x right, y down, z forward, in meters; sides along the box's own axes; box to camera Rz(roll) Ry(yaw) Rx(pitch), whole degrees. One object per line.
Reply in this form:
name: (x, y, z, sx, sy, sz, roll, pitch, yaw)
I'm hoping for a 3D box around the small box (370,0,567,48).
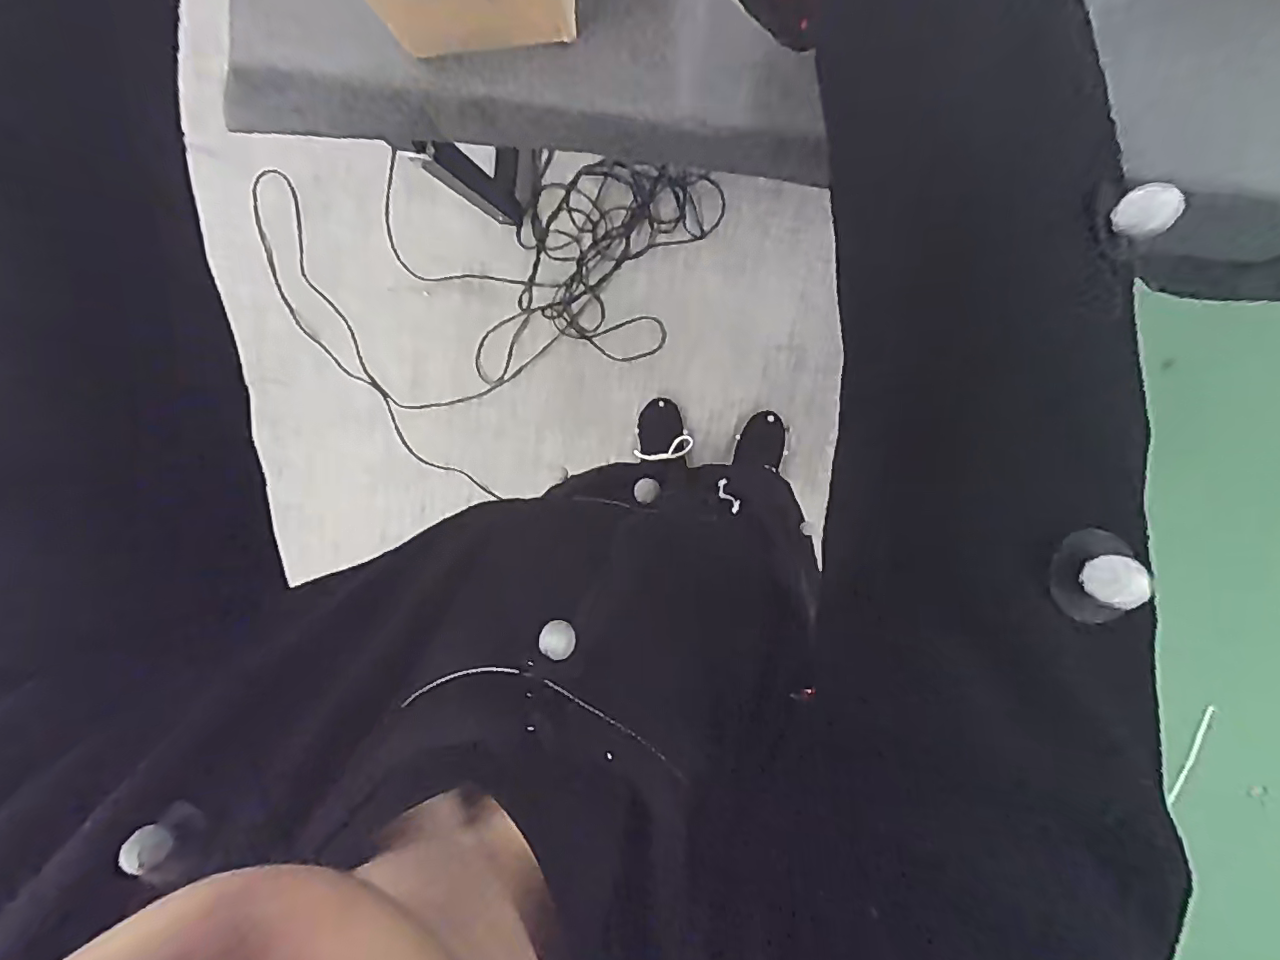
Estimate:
small box: (-0.160, -0.507, 0.454, 0.179, 0.176, 0.168, -1, 100, 6)
